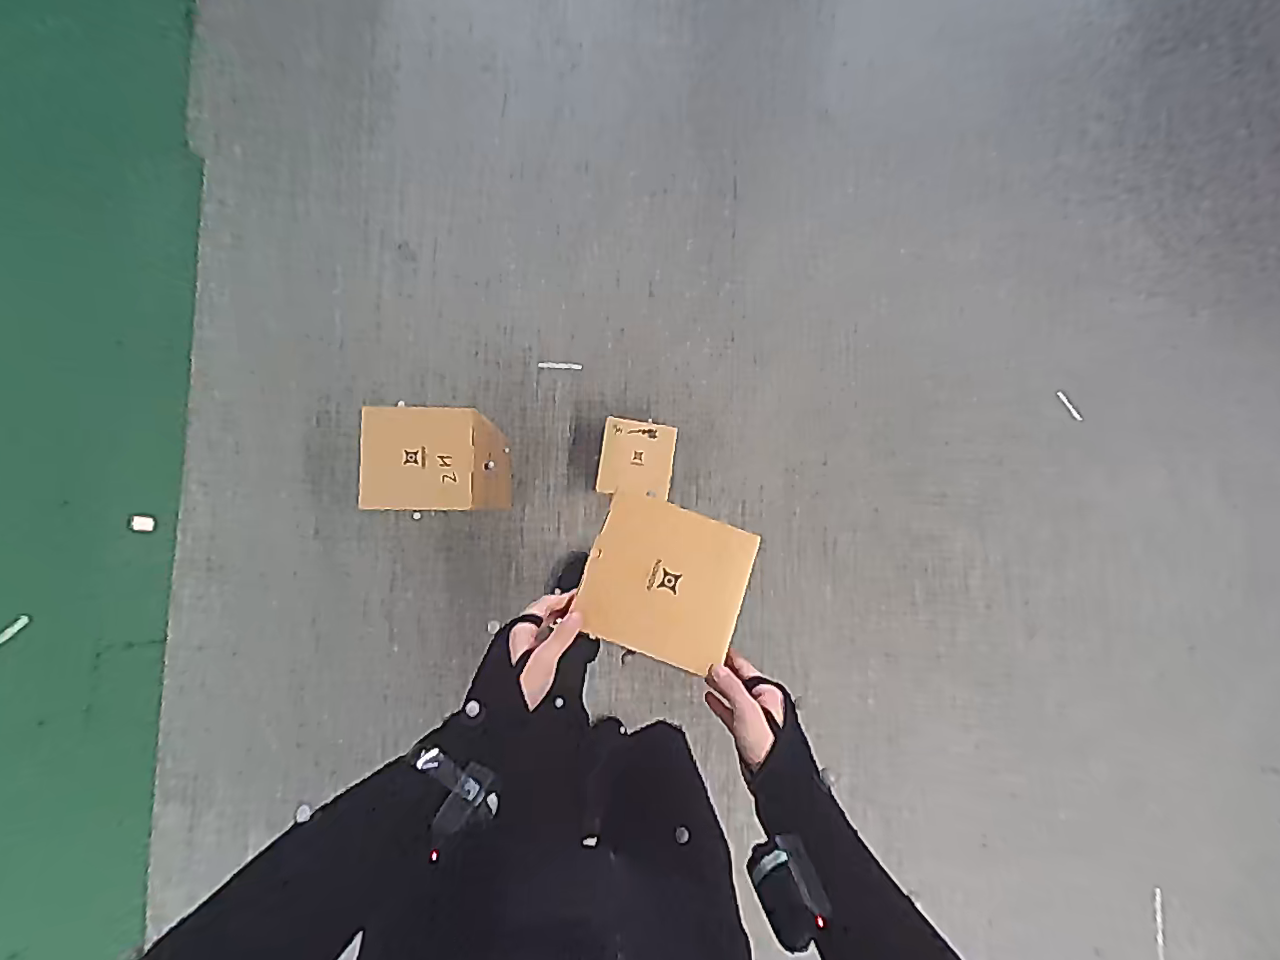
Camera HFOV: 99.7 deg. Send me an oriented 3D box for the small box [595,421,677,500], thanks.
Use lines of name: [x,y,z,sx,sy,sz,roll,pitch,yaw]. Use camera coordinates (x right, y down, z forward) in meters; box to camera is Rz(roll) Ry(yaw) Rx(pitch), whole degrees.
small box: [-0.014,-0.033,1.306,0.168,0.176,0.179,9,86,-6]

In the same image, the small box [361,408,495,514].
small box: [-0.357,-0.025,0.939,0.179,0.176,0.168,1,86,-7]

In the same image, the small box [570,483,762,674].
small box: [0.028,0.124,0.674,0.179,0.176,0.168,19,74,3]

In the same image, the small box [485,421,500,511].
small box: [-0.381,-0.024,1.103,0.168,0.176,0.179,0,85,-7]
